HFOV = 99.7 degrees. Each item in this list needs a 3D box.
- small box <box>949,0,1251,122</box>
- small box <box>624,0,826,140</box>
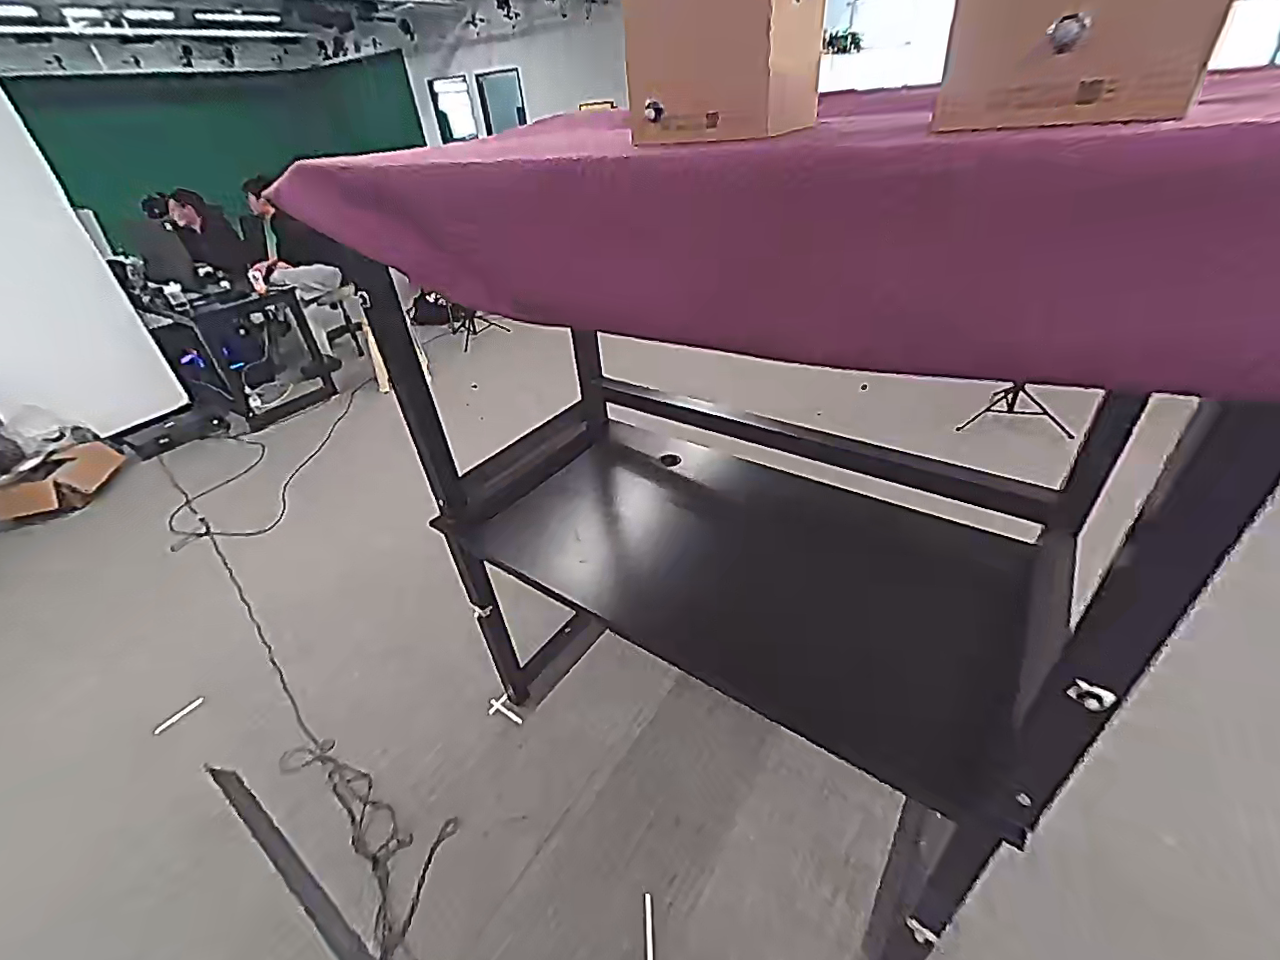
[{"bbox_3d":[0.356,-0.375,0.405,0.168,0.176,0.179,22,43,35],"label":"small box"},{"bbox_3d":[0.099,-0.475,0.590,0.168,0.176,0.179,16,39,28],"label":"small box"}]
